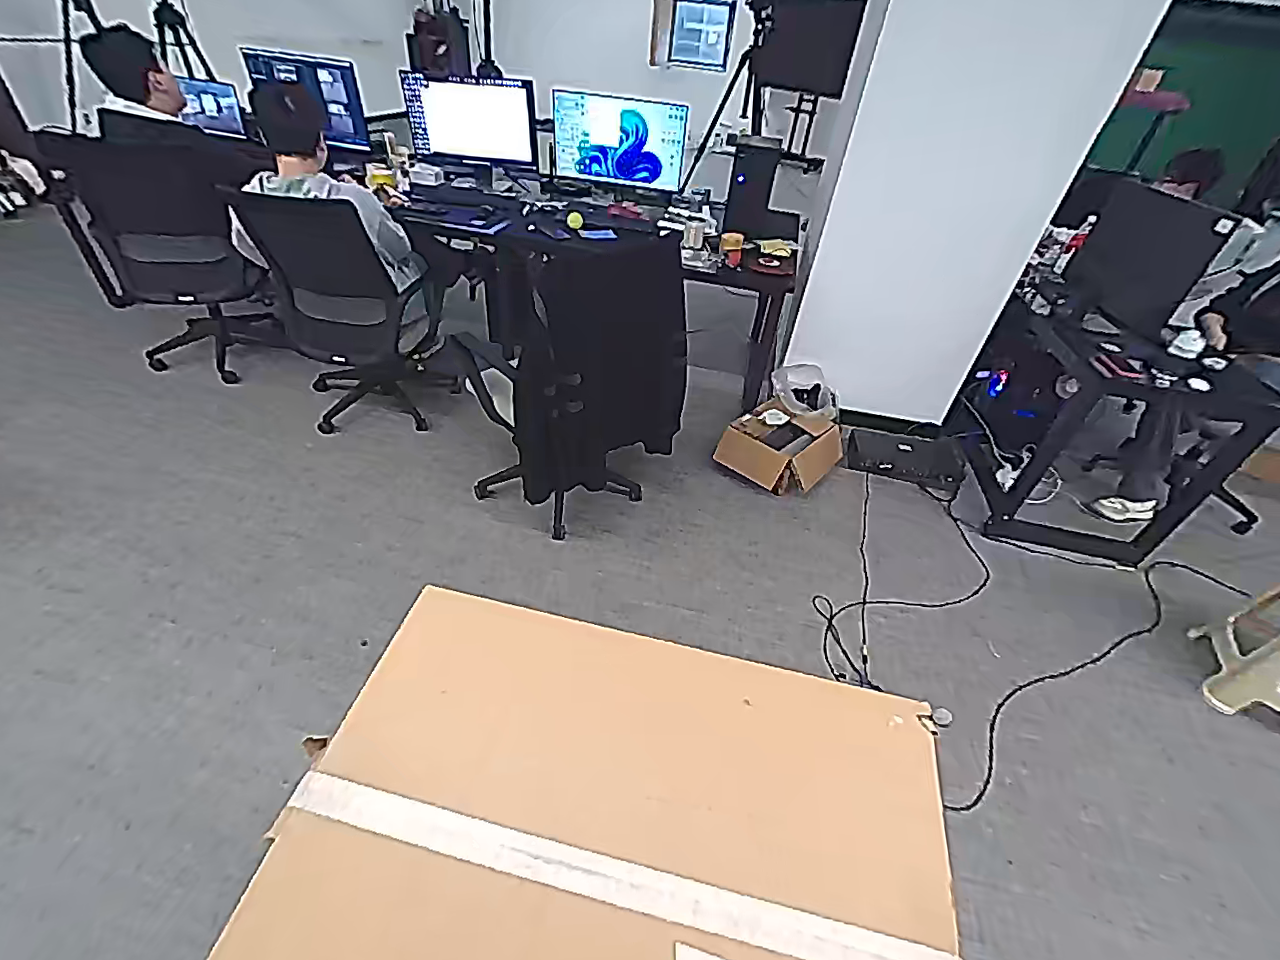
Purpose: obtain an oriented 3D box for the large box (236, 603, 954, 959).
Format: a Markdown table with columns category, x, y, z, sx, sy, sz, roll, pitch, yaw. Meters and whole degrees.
| category | x | y | z | sx | sy | sz | roll | pitch | yaw |
| --- | --- | --- | --- | --- | --- | --- | --- | --- | --- |
| large box | -0.021 | 0.346 | 0.439 | 0.408 | 0.320 | 0.320 | 11 | 49 | 7 |
